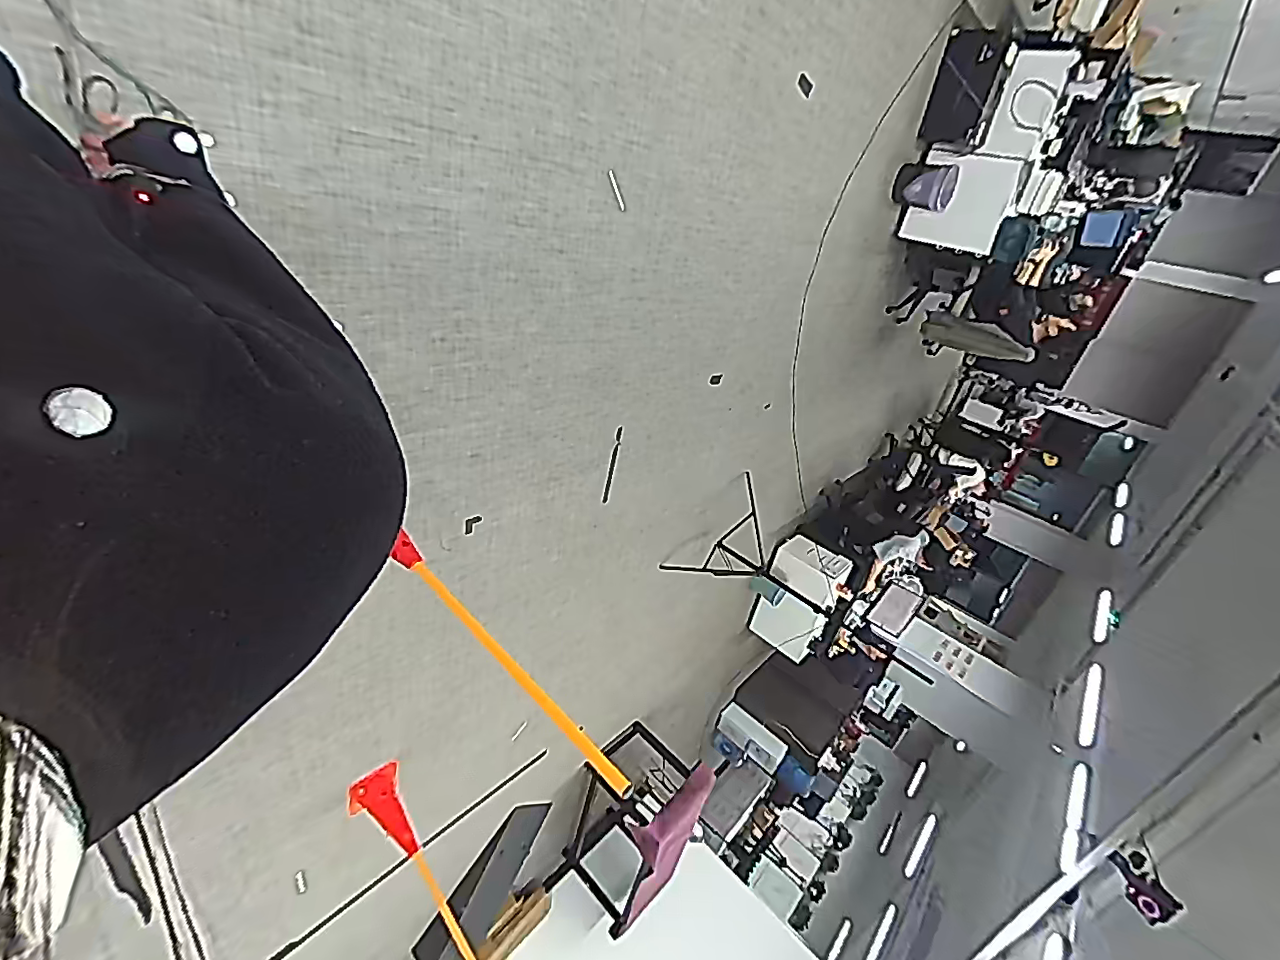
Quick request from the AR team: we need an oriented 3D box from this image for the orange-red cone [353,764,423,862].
[{"bbox_3d":[-0.976,1.374,2.169,0.198,0.360,0.199,-16,129,-47],"label":"orange-red cone"}]
